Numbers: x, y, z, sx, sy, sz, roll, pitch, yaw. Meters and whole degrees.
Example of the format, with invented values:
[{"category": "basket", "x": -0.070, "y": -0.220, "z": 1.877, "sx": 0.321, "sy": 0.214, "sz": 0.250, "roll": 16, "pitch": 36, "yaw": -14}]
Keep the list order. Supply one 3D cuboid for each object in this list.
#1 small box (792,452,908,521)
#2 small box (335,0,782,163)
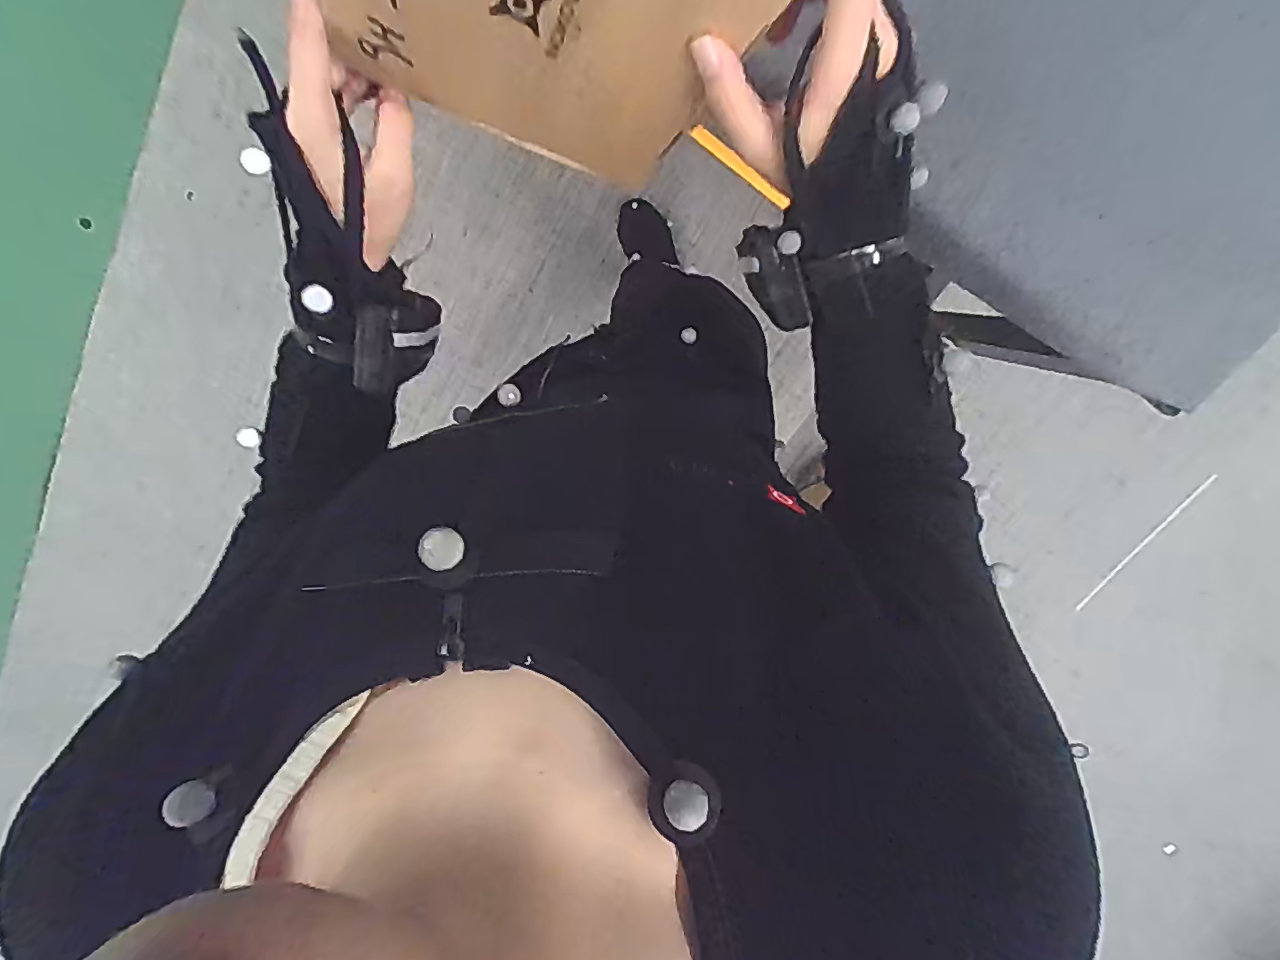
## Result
[{"category": "small box", "x": 0.503, "y": 0.053, "z": 1.315, "sx": 0.179, "sy": 0.176, "sz": 0.168, "roll": 33, "pitch": 106, "yaw": -11}, {"category": "small box", "x": -0.027, "y": -0.292, "z": 0.238, "sx": 0.179, "sy": 0.168, "sz": 0.176, "roll": 9, "pitch": 83, "yaw": -26}]
